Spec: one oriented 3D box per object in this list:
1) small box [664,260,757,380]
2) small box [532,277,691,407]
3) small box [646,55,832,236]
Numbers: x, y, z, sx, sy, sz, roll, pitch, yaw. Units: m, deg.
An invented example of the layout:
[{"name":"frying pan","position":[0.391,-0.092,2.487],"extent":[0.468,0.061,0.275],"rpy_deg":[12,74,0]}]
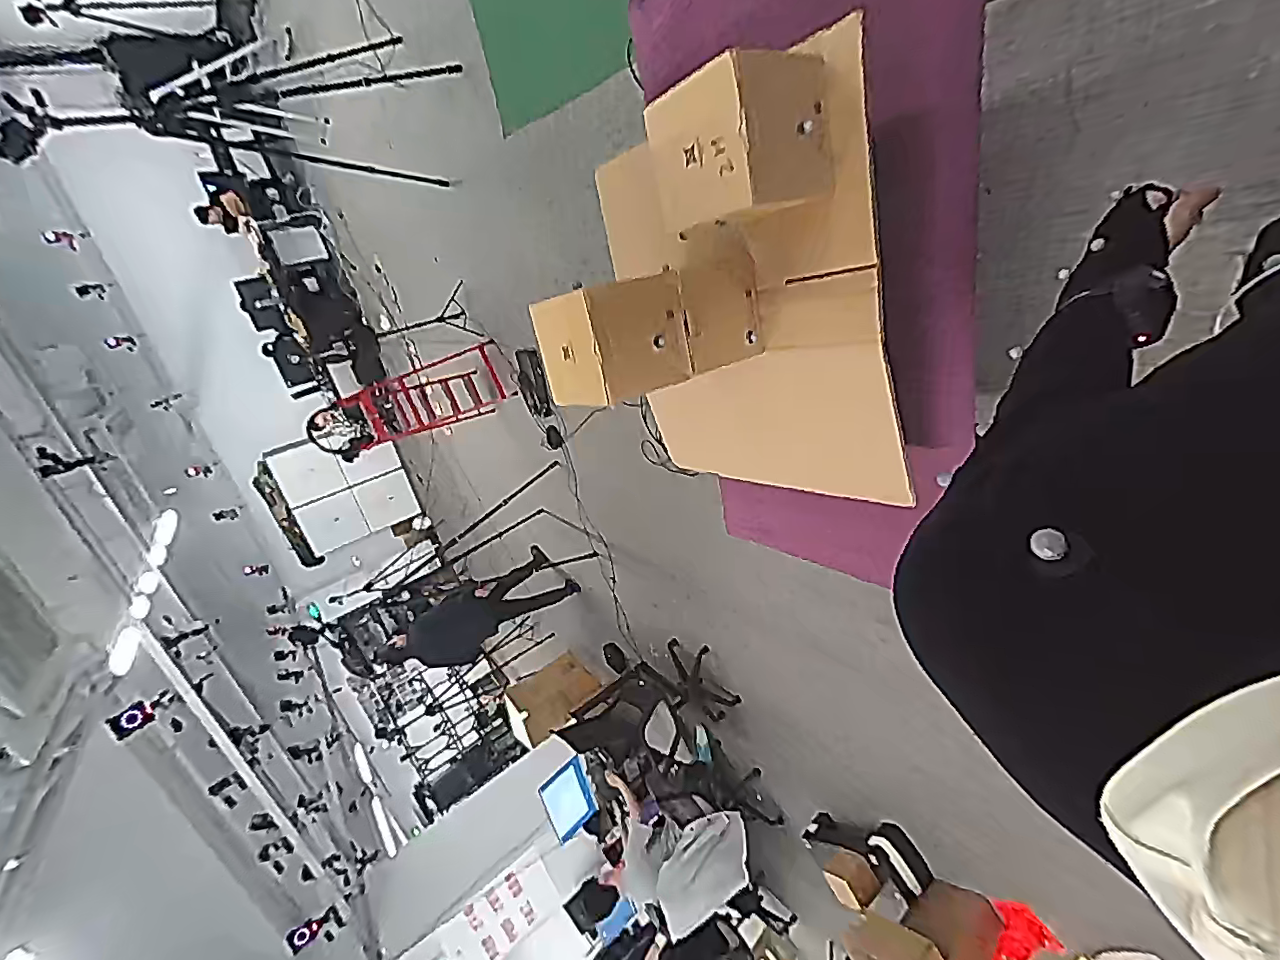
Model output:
[{"name":"small box","position":[0.087,-0.275,0.941],"extent":[0.179,0.176,0.168],"rpy_deg":[13,120,53]},{"name":"small box","position":[-0.044,-0.218,0.864],"extent":[0.179,0.176,0.168],"rpy_deg":[10,118,53]},{"name":"small box","position":[0.138,-0.449,0.748],"extent":[0.179,0.176,0.168],"rpy_deg":[13,122,52]}]
